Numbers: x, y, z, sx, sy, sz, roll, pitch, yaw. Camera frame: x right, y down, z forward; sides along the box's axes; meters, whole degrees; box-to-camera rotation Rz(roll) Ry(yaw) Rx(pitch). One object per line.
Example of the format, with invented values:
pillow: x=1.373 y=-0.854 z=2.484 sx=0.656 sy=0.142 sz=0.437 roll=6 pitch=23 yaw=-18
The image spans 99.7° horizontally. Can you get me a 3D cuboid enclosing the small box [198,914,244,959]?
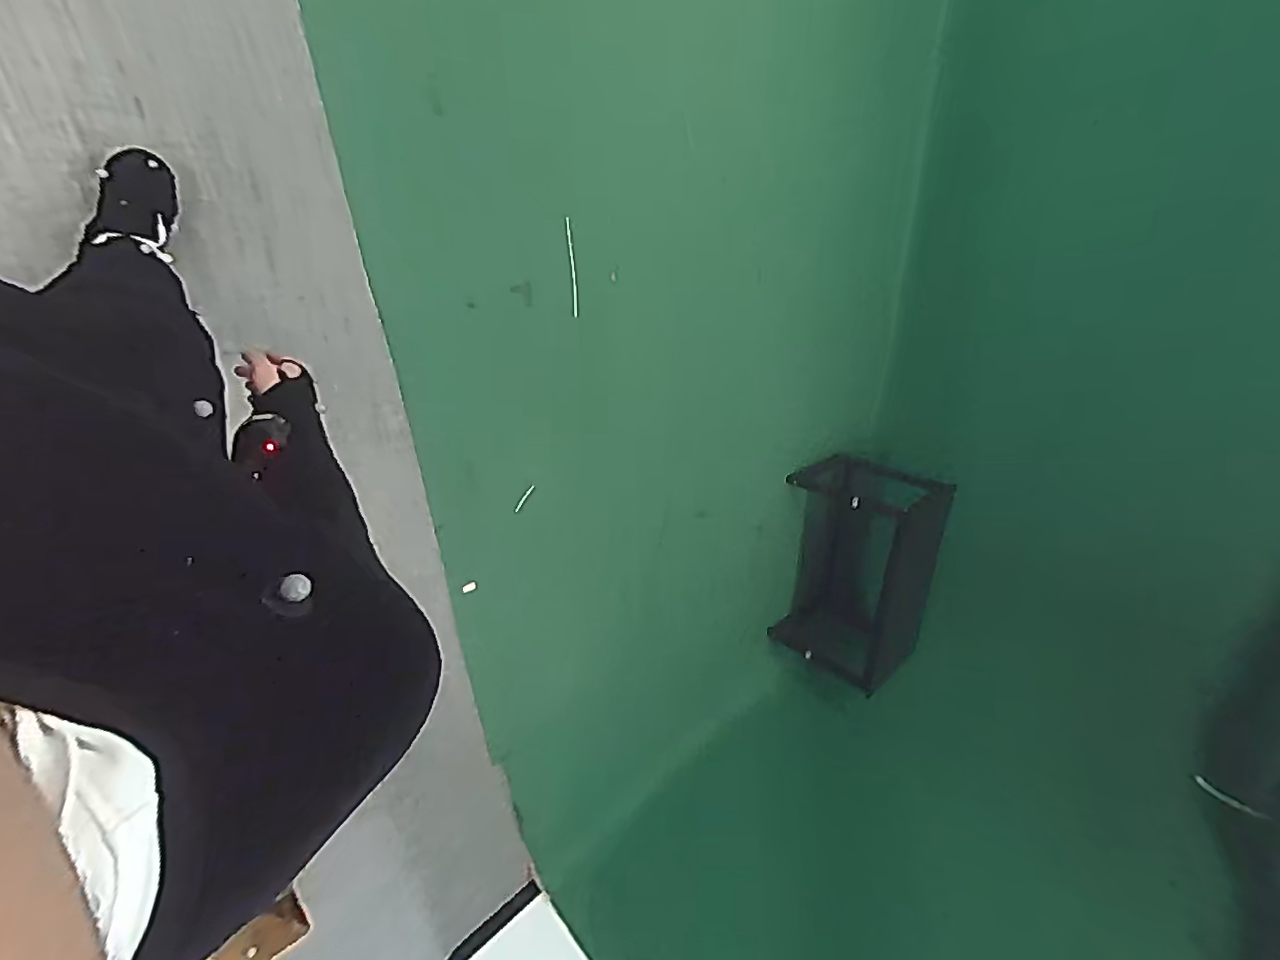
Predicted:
small box: x=-0.869 y=1.001 z=1.031 sx=0.179 sy=0.176 sz=0.168 roll=-24 pitch=123 yaw=-38
